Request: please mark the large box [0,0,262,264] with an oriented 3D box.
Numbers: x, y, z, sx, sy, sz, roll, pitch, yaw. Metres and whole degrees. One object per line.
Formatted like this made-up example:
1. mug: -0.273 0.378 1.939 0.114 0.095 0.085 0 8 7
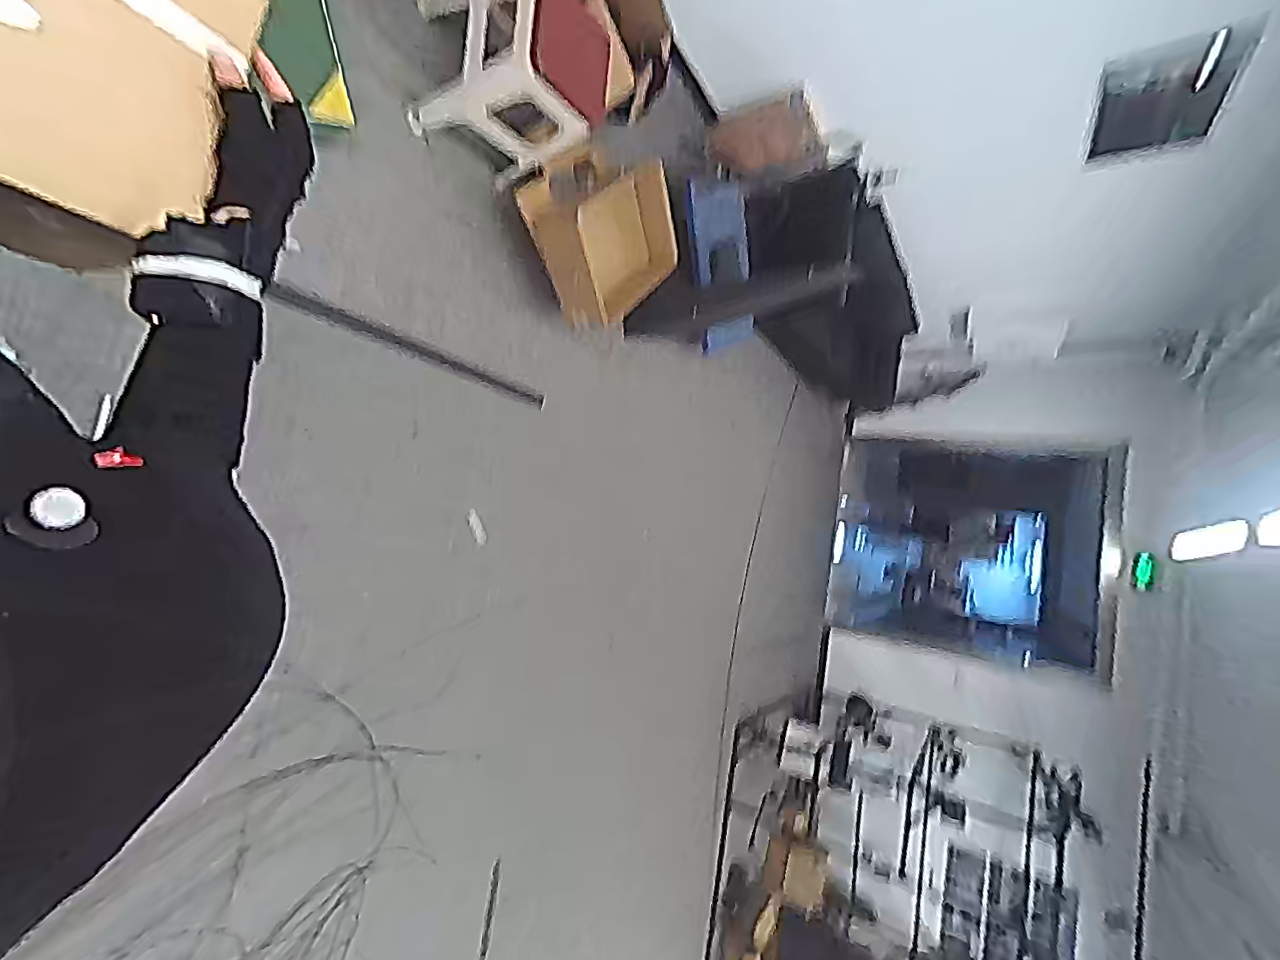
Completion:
1. large box: -0.553 -0.384 0.351 0.408 0.320 0.320 18 85 -59
